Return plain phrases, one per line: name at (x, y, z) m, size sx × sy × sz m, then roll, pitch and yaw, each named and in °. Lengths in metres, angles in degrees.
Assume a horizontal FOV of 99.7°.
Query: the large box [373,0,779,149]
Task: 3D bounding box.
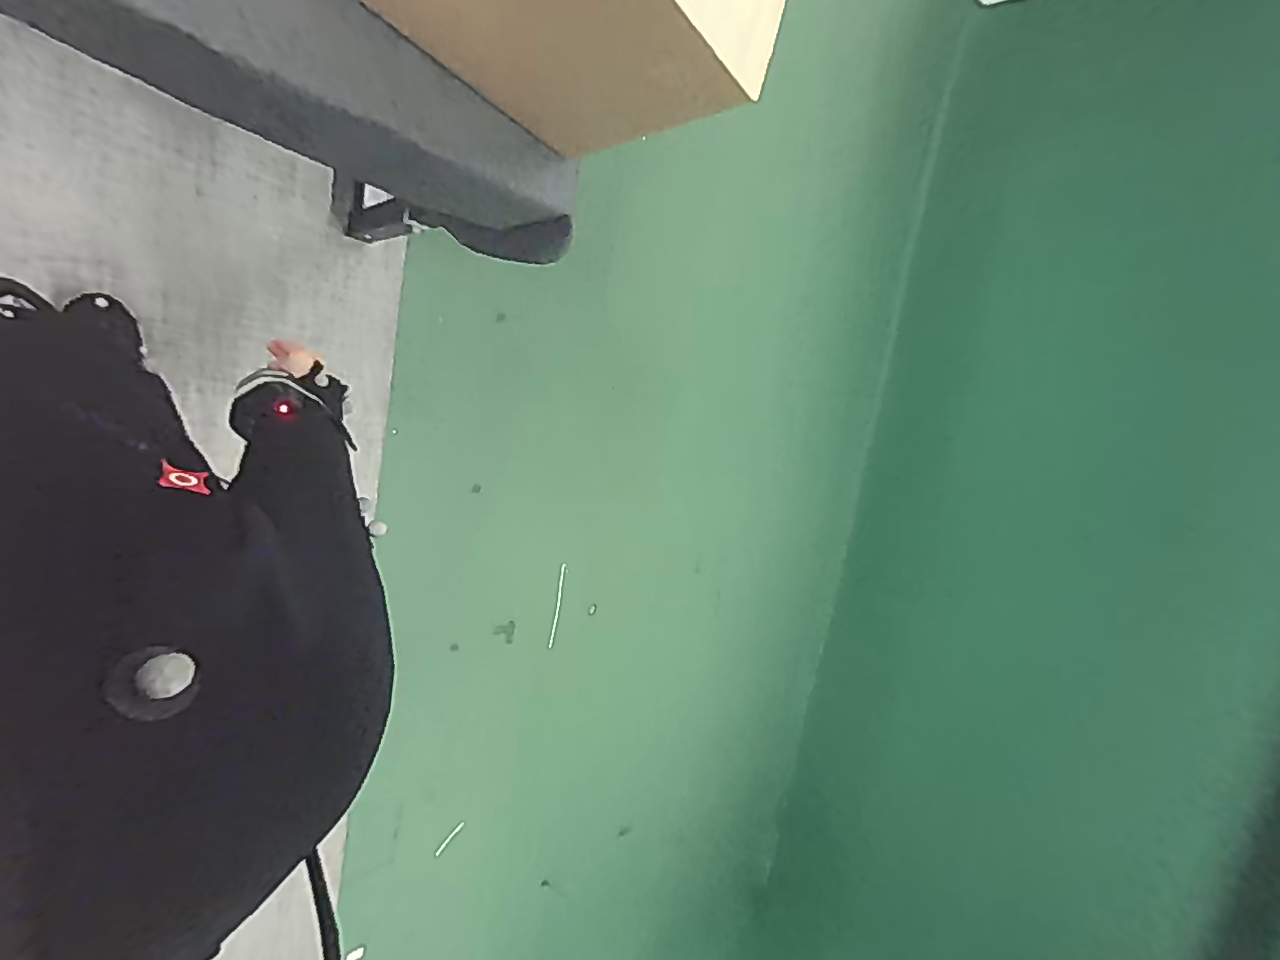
large box at (-0.085, -0.598, 0.504) m, size 0.408 × 0.320 × 0.320 m, roll 11°, pitch 94°, yaw -49°
